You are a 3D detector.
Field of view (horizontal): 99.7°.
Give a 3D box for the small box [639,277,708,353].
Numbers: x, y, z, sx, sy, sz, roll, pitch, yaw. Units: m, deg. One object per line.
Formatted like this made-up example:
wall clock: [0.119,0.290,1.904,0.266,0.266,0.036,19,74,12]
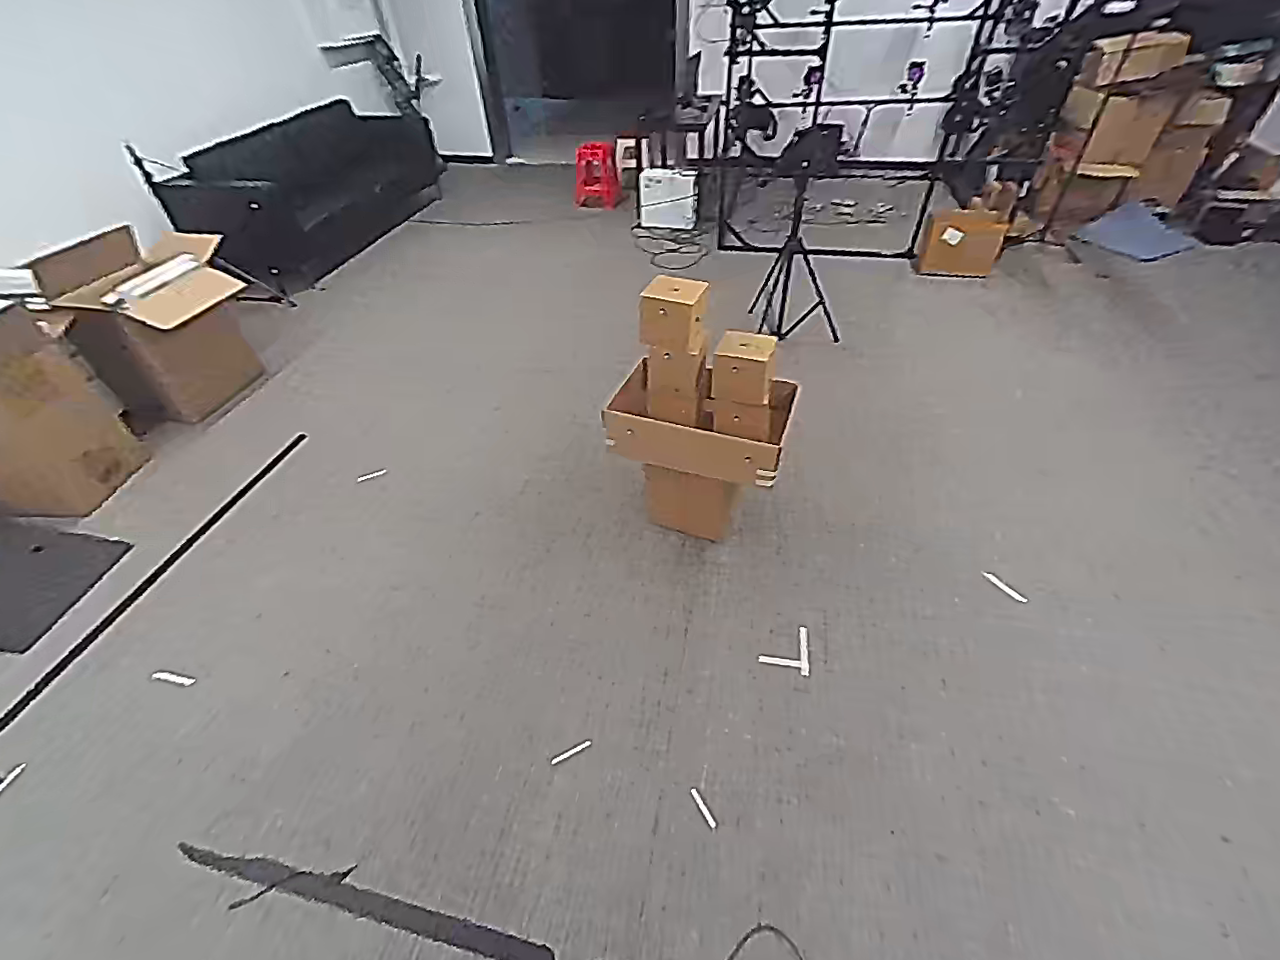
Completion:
small box: [0.106,-0.528,1.741,0.179,0.176,0.168,15,45,16]
